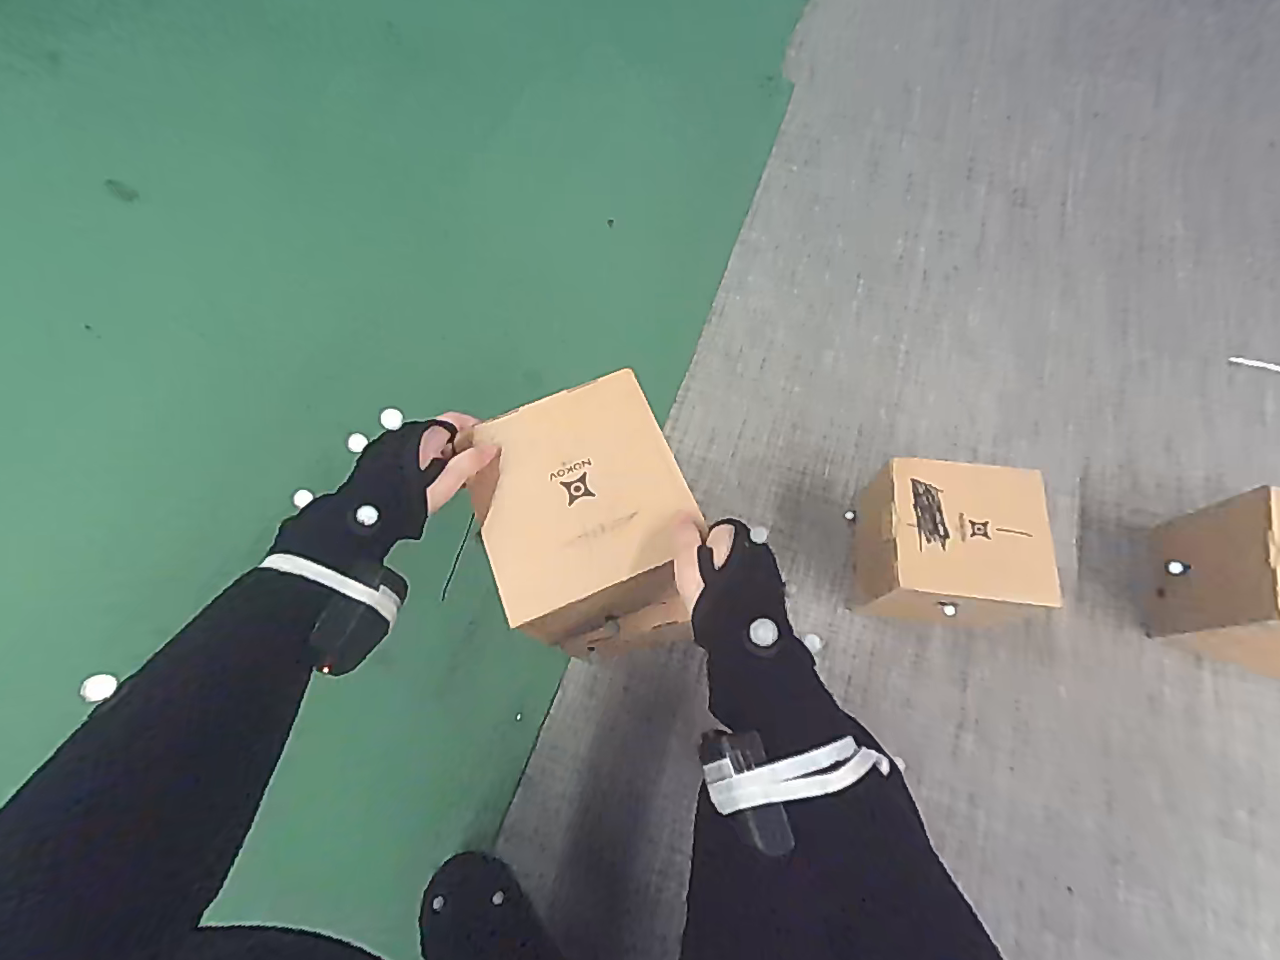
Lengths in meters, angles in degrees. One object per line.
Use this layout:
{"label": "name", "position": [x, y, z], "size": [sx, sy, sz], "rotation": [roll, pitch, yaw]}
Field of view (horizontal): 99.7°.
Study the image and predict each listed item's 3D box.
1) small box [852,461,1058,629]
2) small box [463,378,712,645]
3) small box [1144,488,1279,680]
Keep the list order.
{"label": "small box", "position": [0.384, 0.091, 0.700], "size": [0.179, 0.176, 0.168], "rotation": [6, 67, 5]}
{"label": "small box", "position": [-0.046, 0.039, 0.516], "size": [0.168, 0.176, 0.179], "rotation": [-21, 68, -6]}
{"label": "small box", "position": [0.777, 0.136, 0.658], "size": [0.179, 0.176, 0.168], "rotation": [18, 68, 11]}
